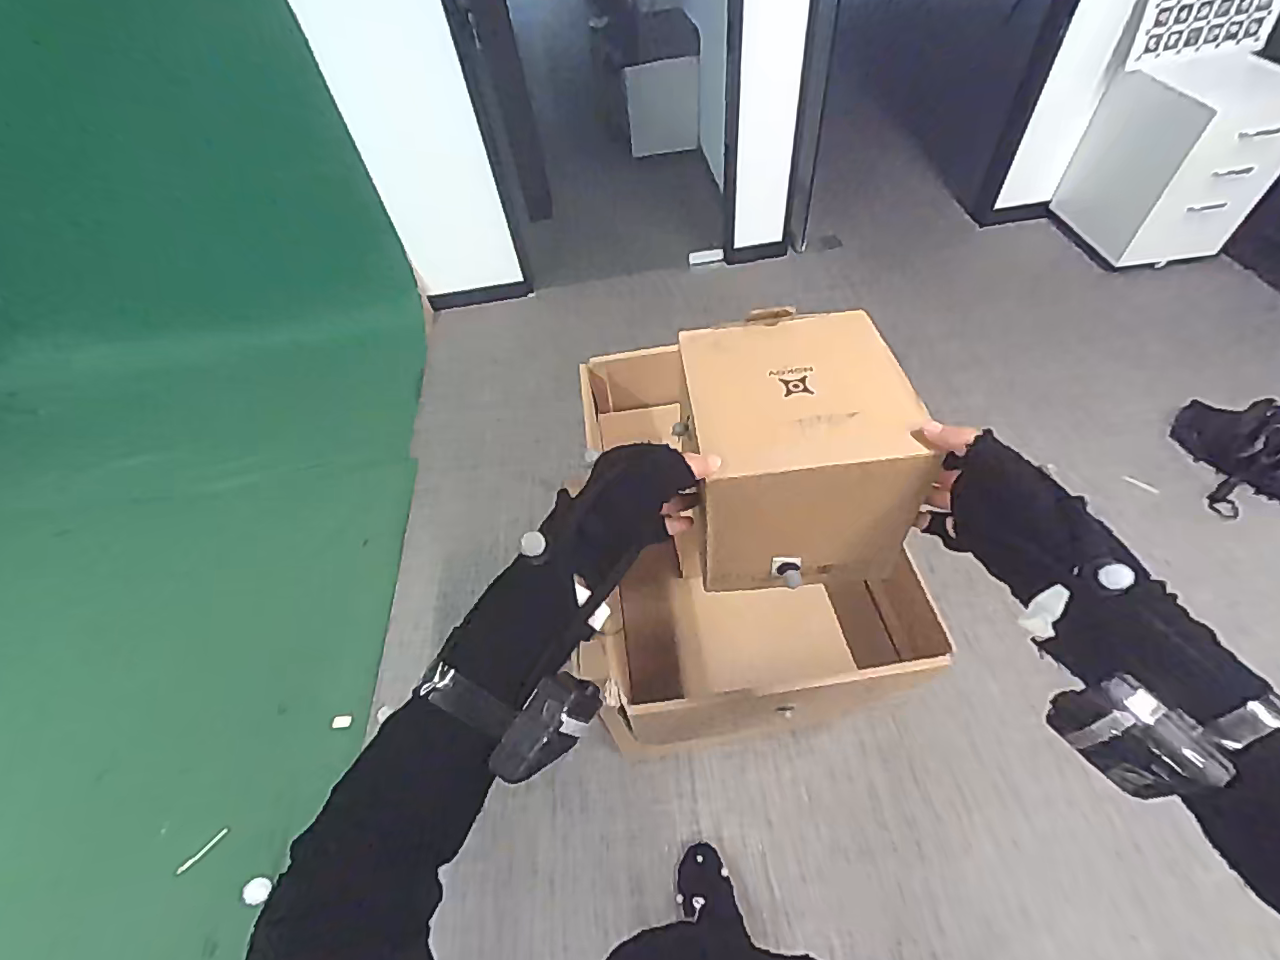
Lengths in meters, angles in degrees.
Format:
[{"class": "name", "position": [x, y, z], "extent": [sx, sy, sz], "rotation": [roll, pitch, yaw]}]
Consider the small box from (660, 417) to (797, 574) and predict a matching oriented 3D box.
[{"class": "small box", "position": [0.128, 0.032, 0.831], "extent": [0.168, 0.176, 0.179], "rotation": [-9, 52, -1]}]
